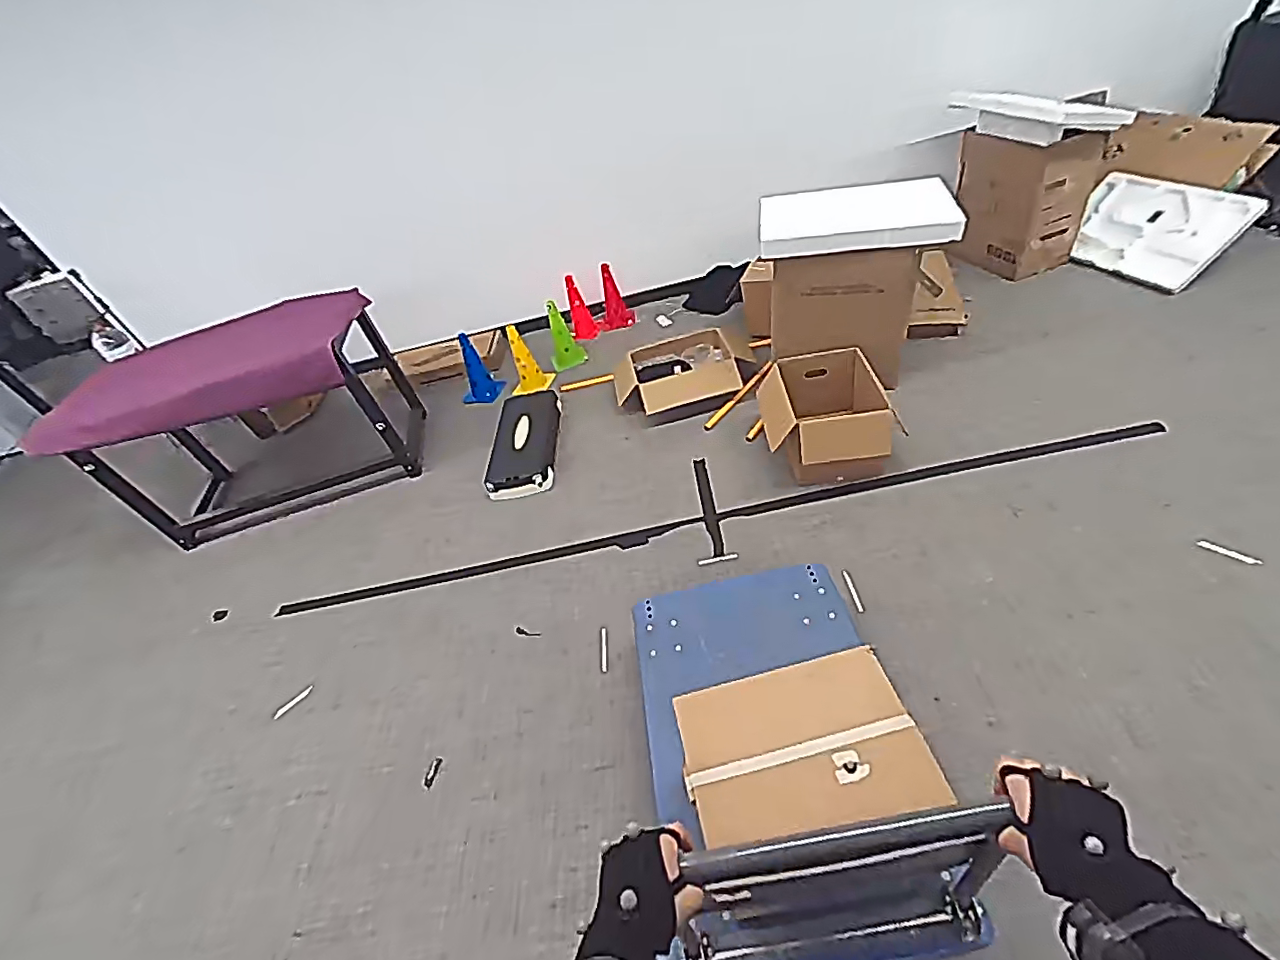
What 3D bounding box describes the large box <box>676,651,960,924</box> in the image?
[{"bbox_3d":[0.314,0.594,1.051,0.408,0.320,0.320,-15,42,-1],"label":"large box"}]
